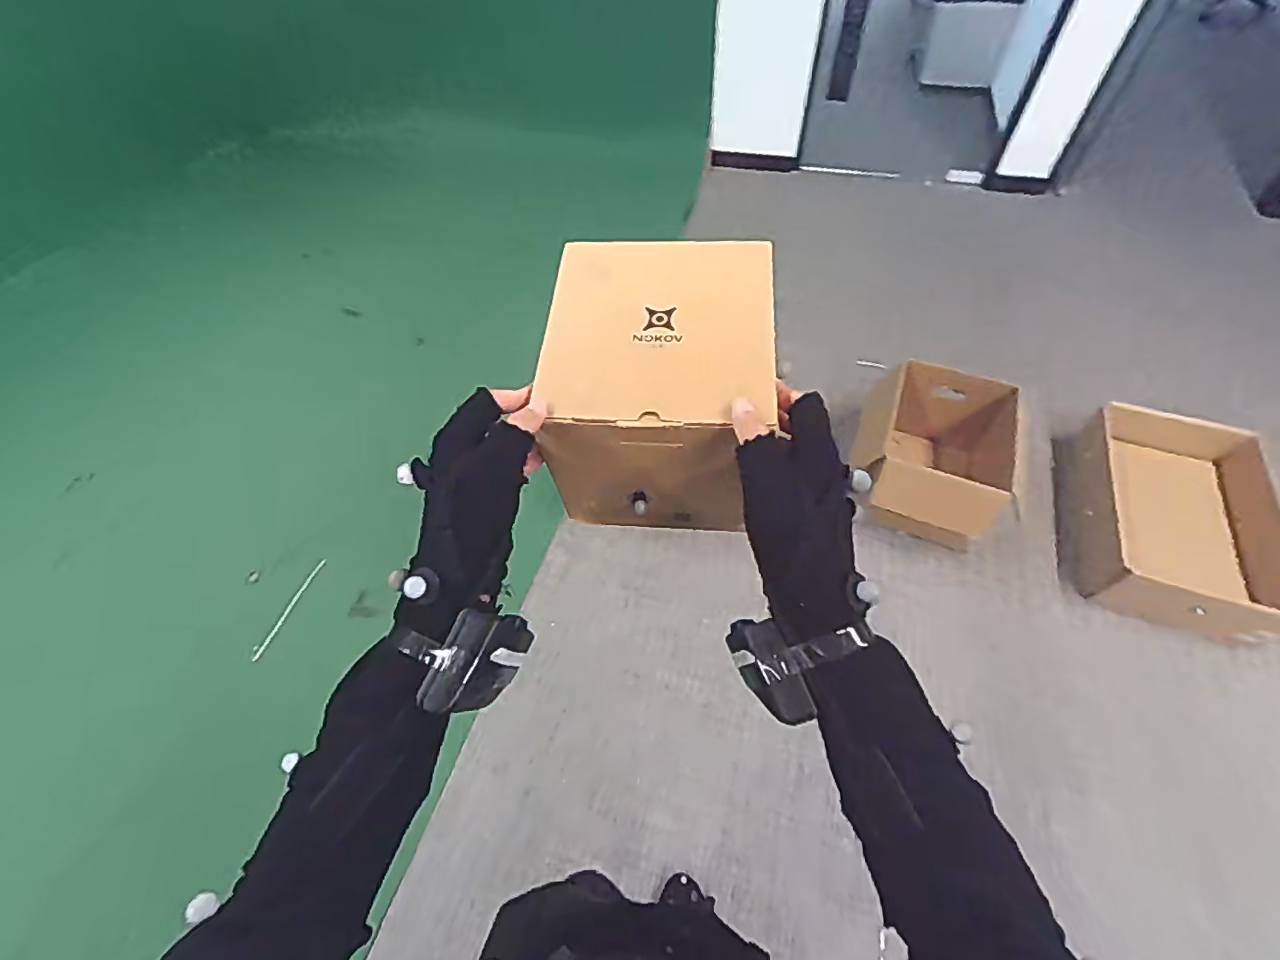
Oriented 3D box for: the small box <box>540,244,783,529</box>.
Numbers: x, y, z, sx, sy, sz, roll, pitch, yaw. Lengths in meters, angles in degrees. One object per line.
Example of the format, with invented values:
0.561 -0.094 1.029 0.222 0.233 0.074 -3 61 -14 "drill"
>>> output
0.026 -0.075 0.466 0.168 0.176 0.179 2 62 7 "small box"
